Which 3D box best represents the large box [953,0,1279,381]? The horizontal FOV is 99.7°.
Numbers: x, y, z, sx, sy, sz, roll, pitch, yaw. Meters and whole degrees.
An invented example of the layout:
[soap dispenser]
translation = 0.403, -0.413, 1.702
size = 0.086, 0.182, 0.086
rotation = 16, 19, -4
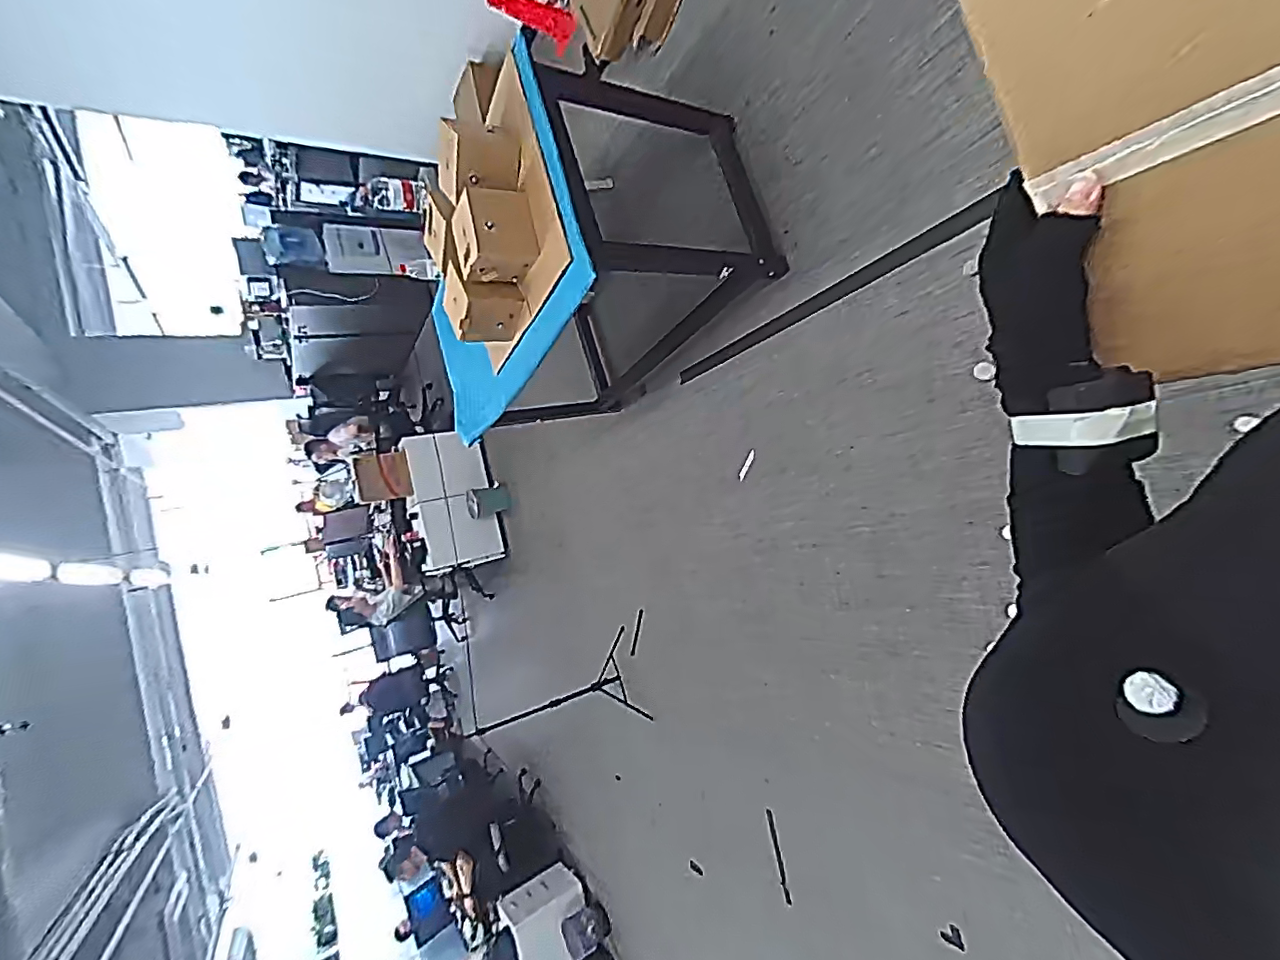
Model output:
[large box]
translation = 0.454, -0.302, 0.253
size = 0.320, 0.320, 0.408
rotation = 51, 151, -19
